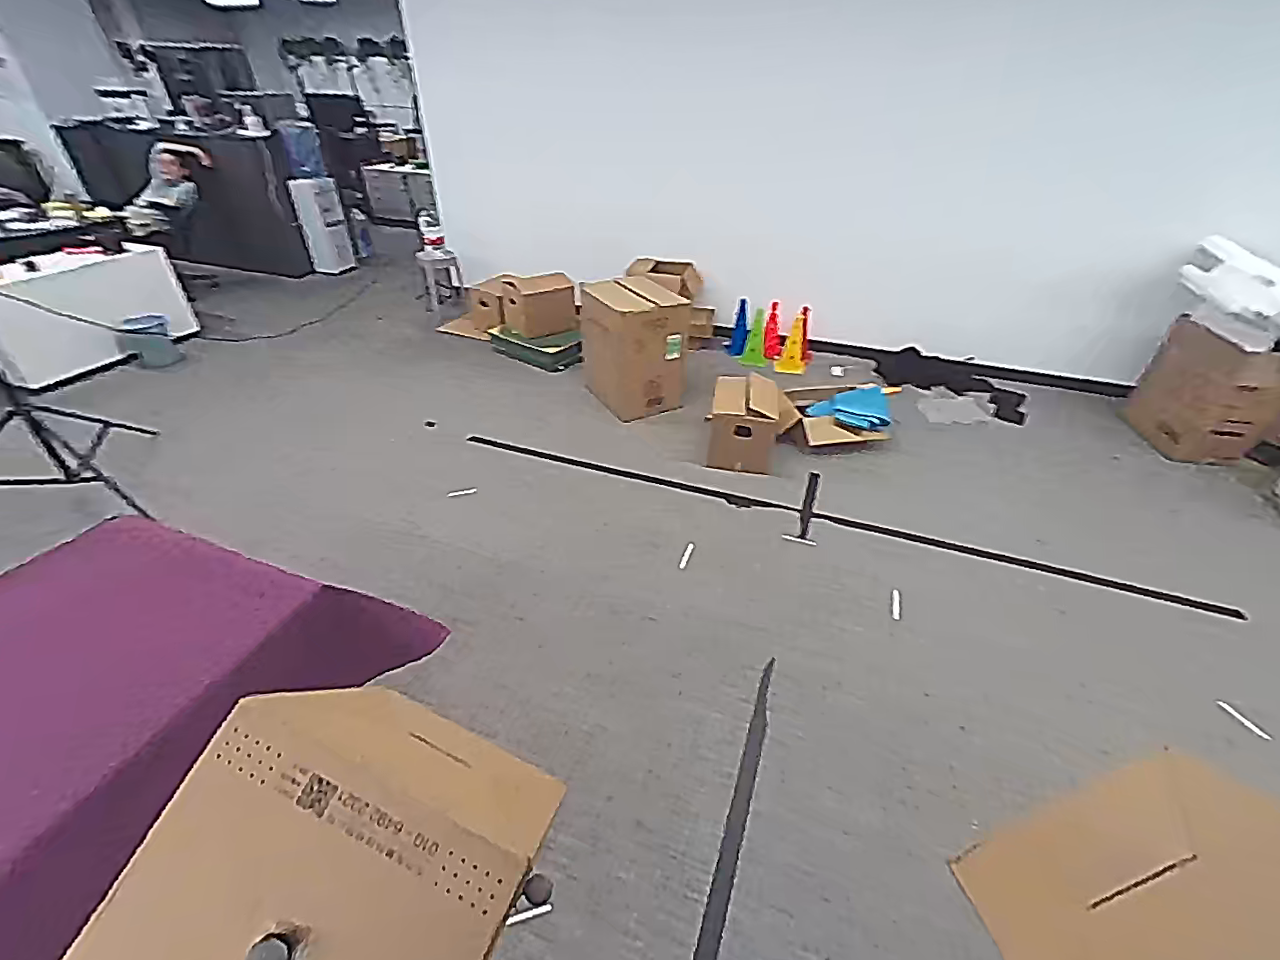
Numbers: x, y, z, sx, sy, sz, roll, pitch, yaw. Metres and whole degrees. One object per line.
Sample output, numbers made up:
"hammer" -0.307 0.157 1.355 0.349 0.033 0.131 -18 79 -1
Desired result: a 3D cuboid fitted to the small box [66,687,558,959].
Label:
"small box" -0.160 0.230 0.302 0.168 0.179 0.176 24 70 7
